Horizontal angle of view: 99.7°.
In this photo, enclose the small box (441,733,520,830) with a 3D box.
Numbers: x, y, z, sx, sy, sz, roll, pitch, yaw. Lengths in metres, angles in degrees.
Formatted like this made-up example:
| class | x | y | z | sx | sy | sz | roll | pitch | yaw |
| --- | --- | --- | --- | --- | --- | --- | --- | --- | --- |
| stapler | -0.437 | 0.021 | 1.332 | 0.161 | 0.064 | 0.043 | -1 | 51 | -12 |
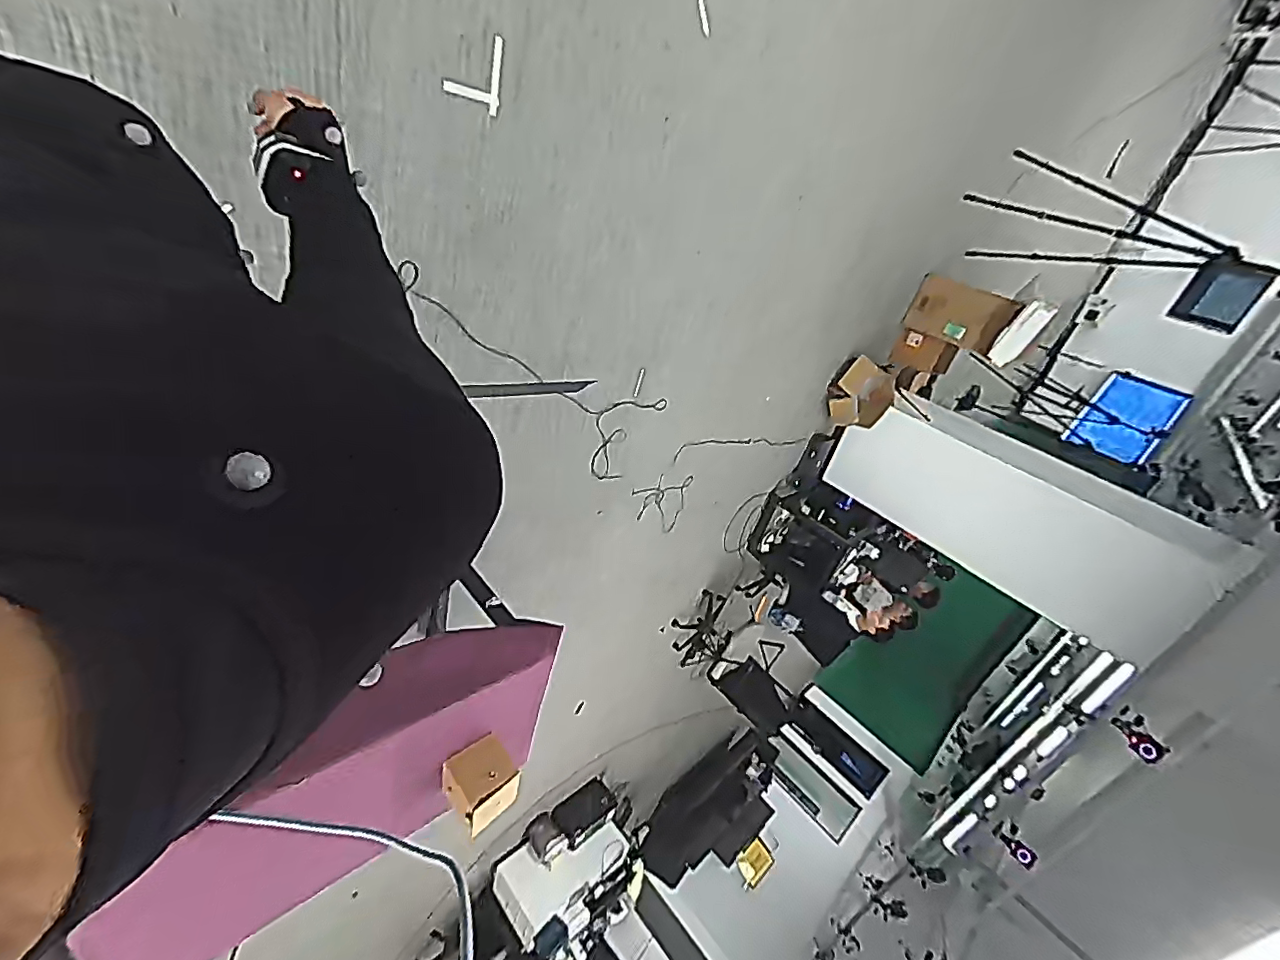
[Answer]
| class | x | y | z | sx | sy | sz | roll | pitch | yaw |
| --- | --- | --- | --- | --- | --- | --- | --- | --- | --- |
| small box | -0.507 | 0.947 | 1.716 | 0.179 | 0.176 | 0.168 | -17 | 133 | -42 |
